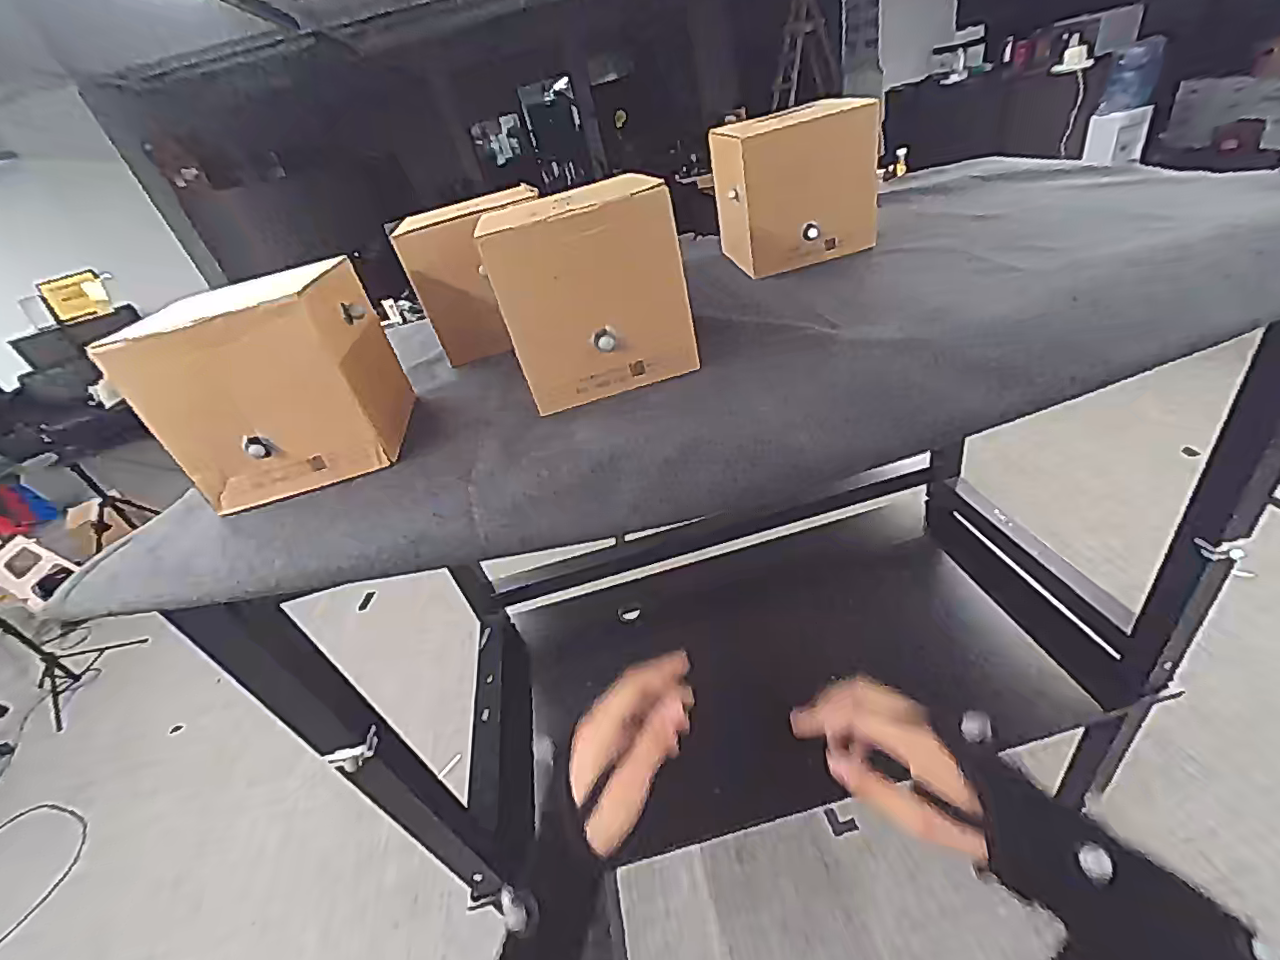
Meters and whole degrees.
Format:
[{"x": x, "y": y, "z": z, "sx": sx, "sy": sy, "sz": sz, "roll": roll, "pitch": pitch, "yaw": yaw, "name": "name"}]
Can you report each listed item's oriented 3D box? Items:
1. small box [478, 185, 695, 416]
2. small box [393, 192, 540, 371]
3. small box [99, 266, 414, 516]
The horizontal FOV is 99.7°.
[{"x": -0.053, "y": -0.188, "z": 0.558, "sx": 0.168, "sy": 0.176, "sz": 0.179, "roll": -17, "pitch": 34, "yaw": -3, "name": "small box"}, {"x": -0.201, "y": -0.270, "z": 0.732, "sx": 0.179, "sy": 0.176, "sz": 0.168, "roll": -18, "pitch": 34, "yaw": -4, "name": "small box"}, {"x": -0.343, "y": -0.093, "z": 0.535, "sx": 0.168, "sy": 0.176, "sz": 0.179, "roll": -17, "pitch": 34, "yaw": -4, "name": "small box"}]
